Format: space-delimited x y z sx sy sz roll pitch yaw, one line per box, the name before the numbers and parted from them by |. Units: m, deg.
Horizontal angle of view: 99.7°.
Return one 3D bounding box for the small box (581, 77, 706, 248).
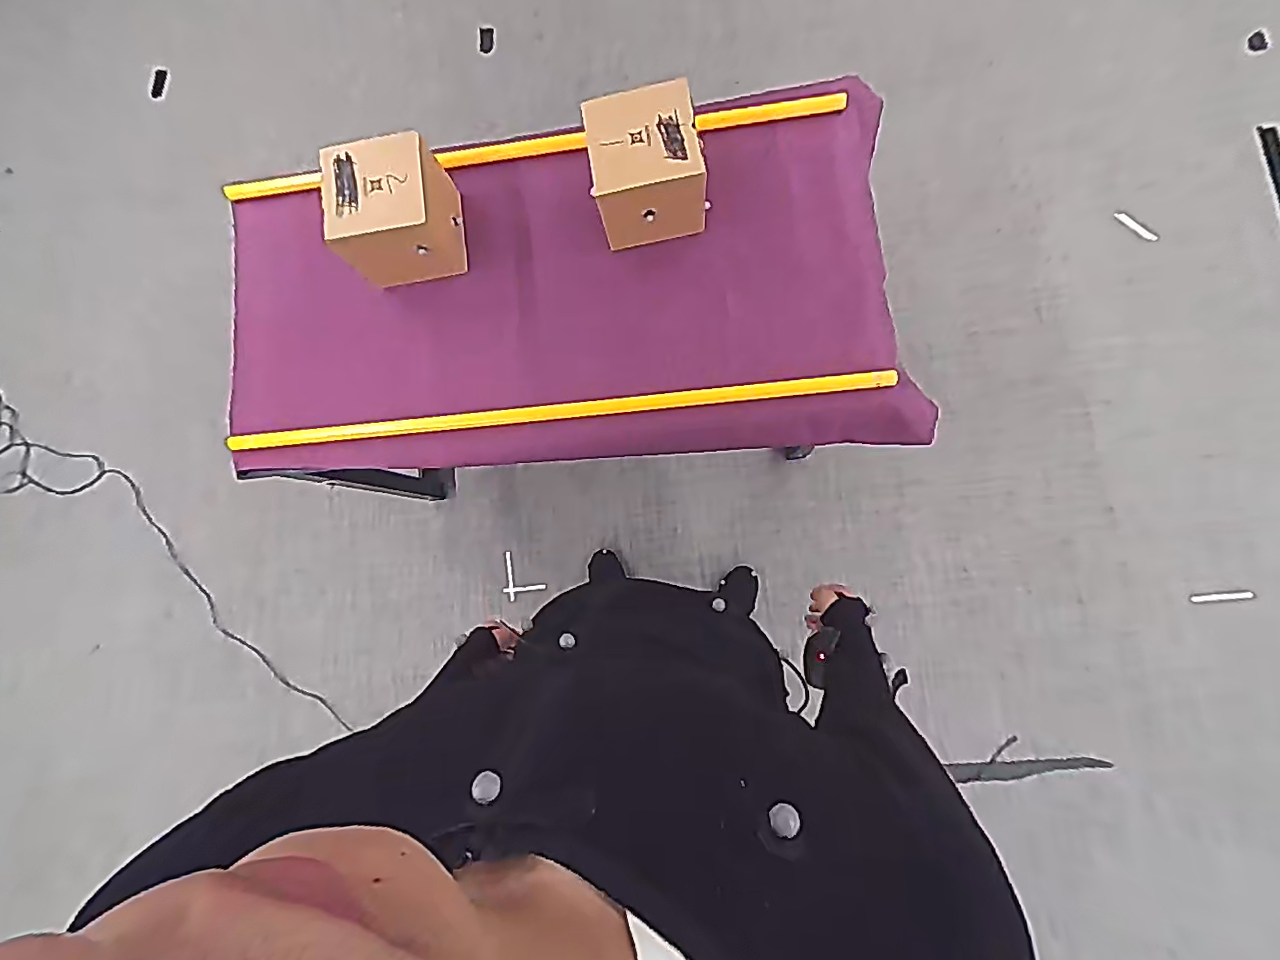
small box | 0.011 -0.521 0.911 0.179 0.176 0.168 -9 83 6
